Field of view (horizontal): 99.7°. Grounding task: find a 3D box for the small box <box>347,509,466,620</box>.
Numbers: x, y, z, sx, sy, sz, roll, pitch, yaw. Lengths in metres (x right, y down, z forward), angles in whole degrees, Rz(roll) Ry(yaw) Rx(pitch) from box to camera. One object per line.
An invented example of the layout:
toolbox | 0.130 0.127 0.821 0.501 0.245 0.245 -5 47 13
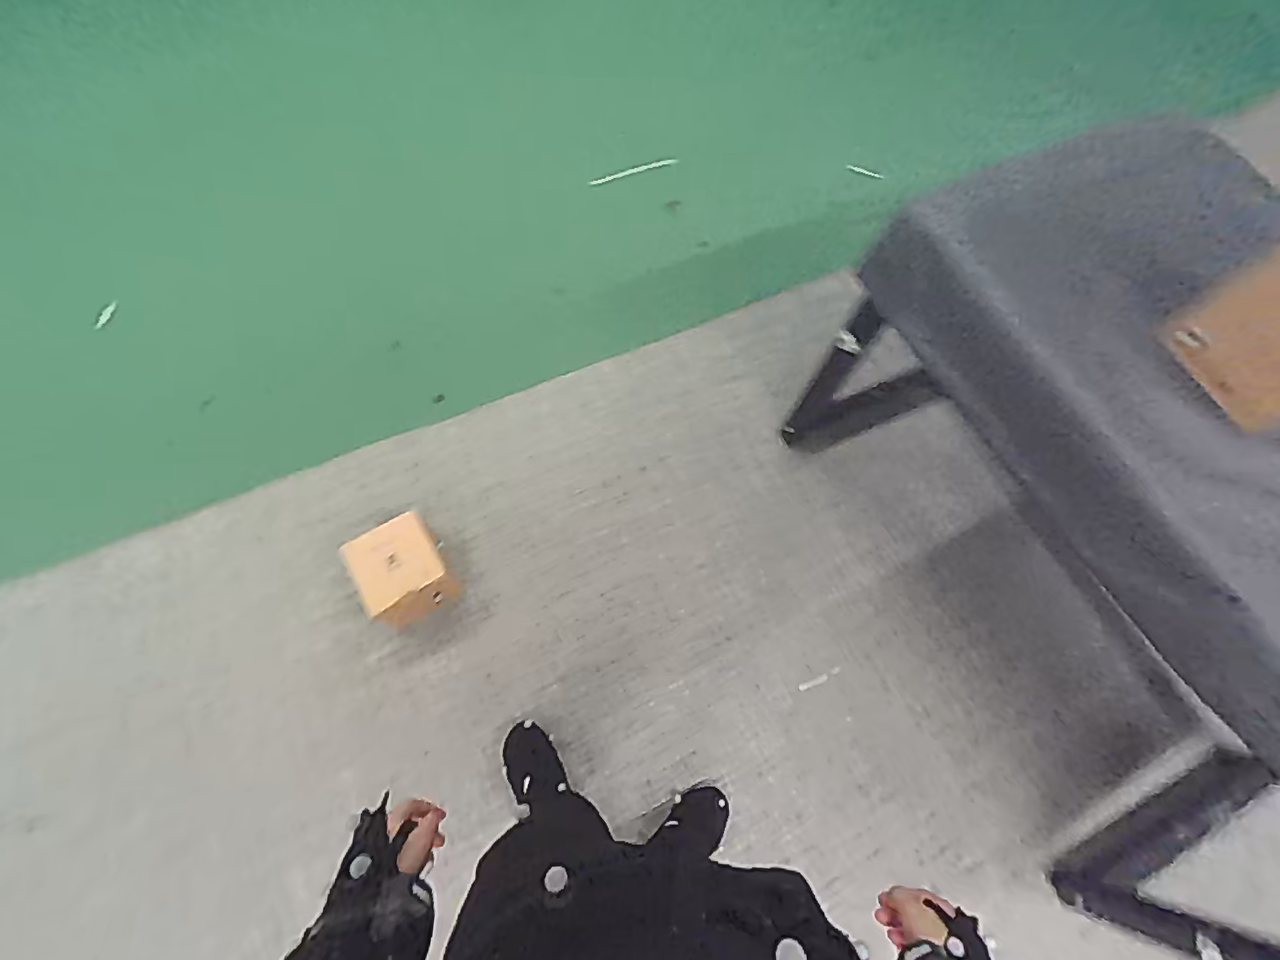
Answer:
small box | -0.514 0.197 1.213 0.168 0.176 0.179 -29 71 -15

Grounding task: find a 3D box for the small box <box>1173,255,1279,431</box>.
small box | 0.822 -0.182 0.657 0.179 0.176 0.168 -18 70 -12
